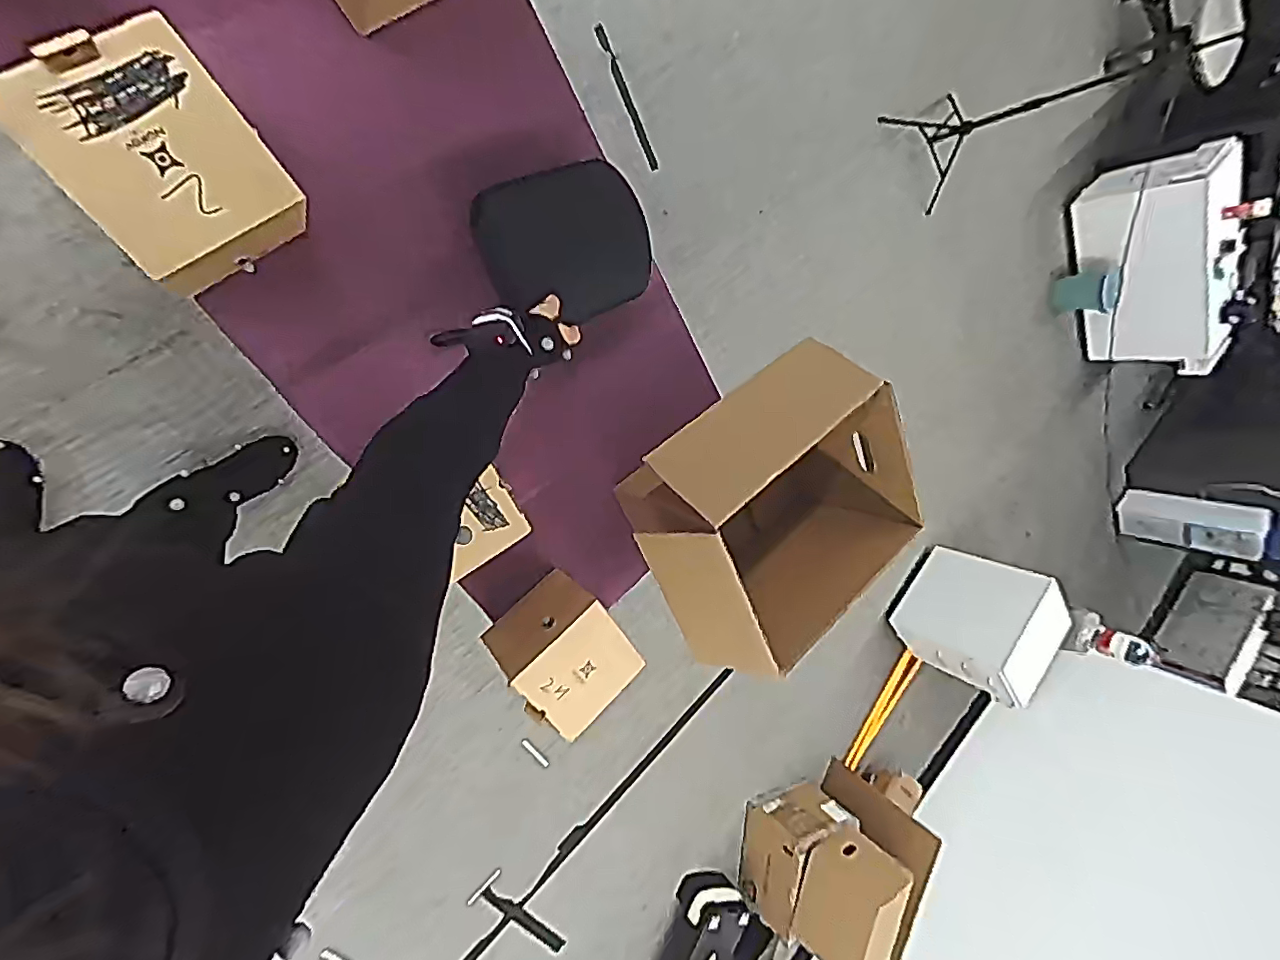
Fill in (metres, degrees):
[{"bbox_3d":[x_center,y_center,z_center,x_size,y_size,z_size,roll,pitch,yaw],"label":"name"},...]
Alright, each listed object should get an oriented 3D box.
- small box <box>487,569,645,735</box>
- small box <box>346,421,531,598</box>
[{"bbox_3d":[-0.130,0.279,0.918,0.179,0.176,0.168,-41,118,-18],"label":"small box"},{"bbox_3d":[-0.289,0.029,0.767,0.179,0.176,0.168,-34,116,-20],"label":"small box"}]
